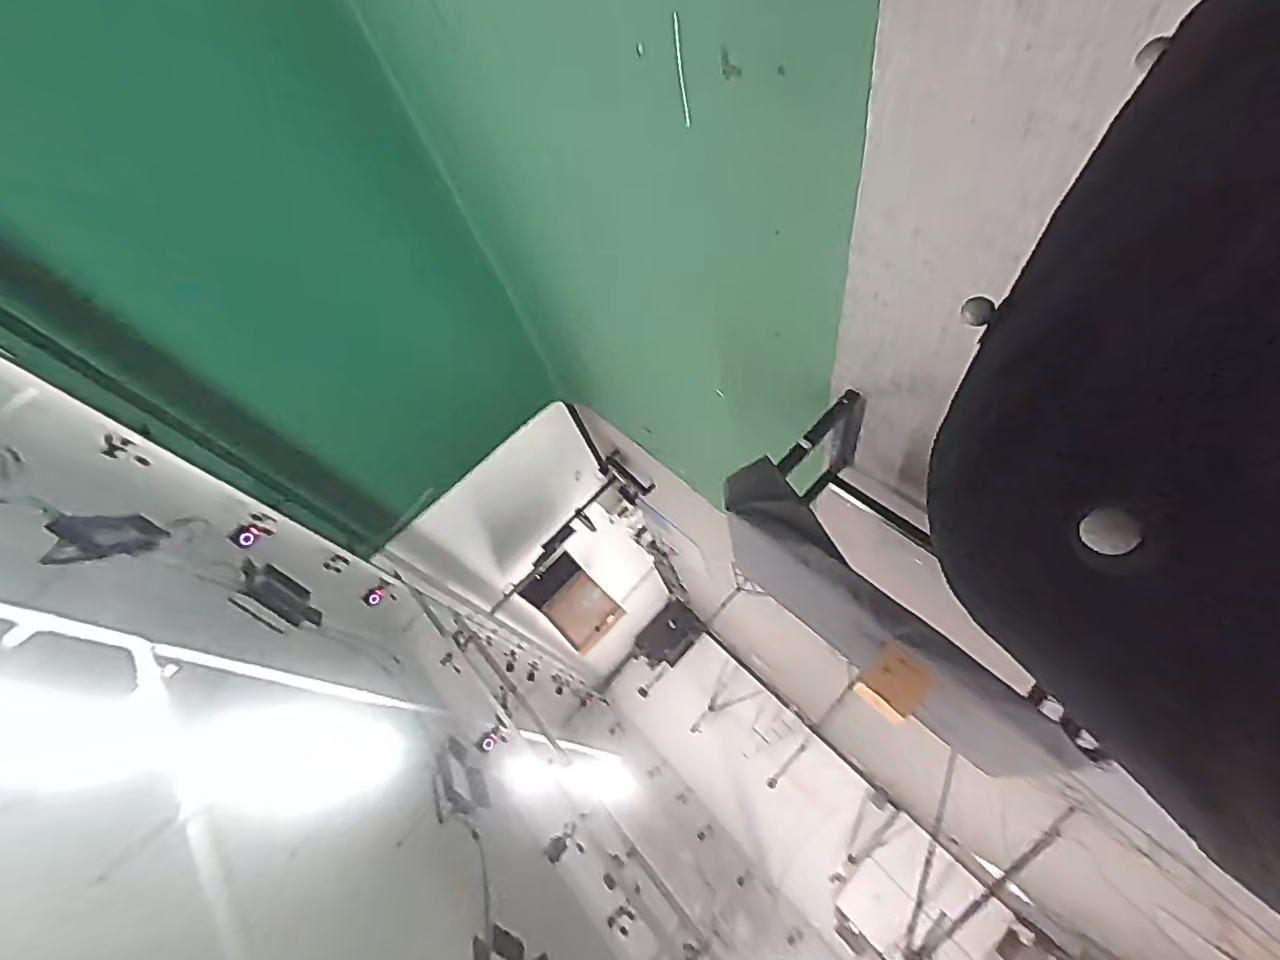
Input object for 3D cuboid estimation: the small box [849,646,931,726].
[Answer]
[{"bbox_3d":[0.806,0.663,1.745,0.168,0.176,0.179,41,168,29],"label":"small box"}]
